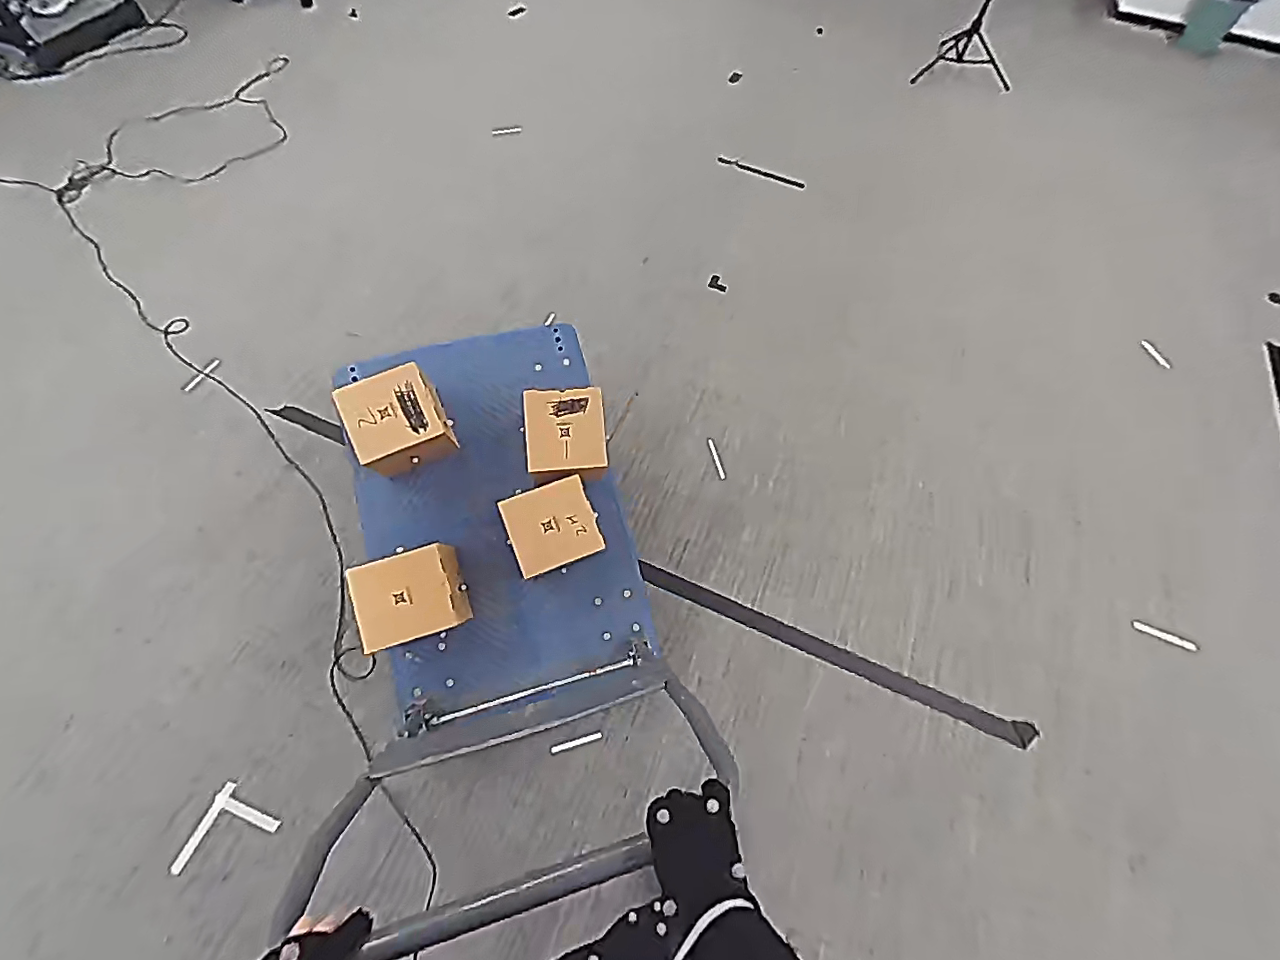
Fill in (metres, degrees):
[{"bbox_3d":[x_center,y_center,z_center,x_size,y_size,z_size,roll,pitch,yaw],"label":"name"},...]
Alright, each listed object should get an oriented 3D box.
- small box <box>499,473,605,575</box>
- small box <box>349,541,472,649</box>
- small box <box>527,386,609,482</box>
[{"bbox_3d":[-0.185,0.101,1.169,0.179,0.176,0.168,-20,84,-10],"label":"small box"},{"bbox_3d":[-0.463,0.233,1.112,0.179,0.176,0.168,-16,83,-11],"label":"small box"},{"bbox_3d":[-0.162,-0.098,1.205,0.168,0.176,0.179,-4,82,-7],"label":"small box"}]
